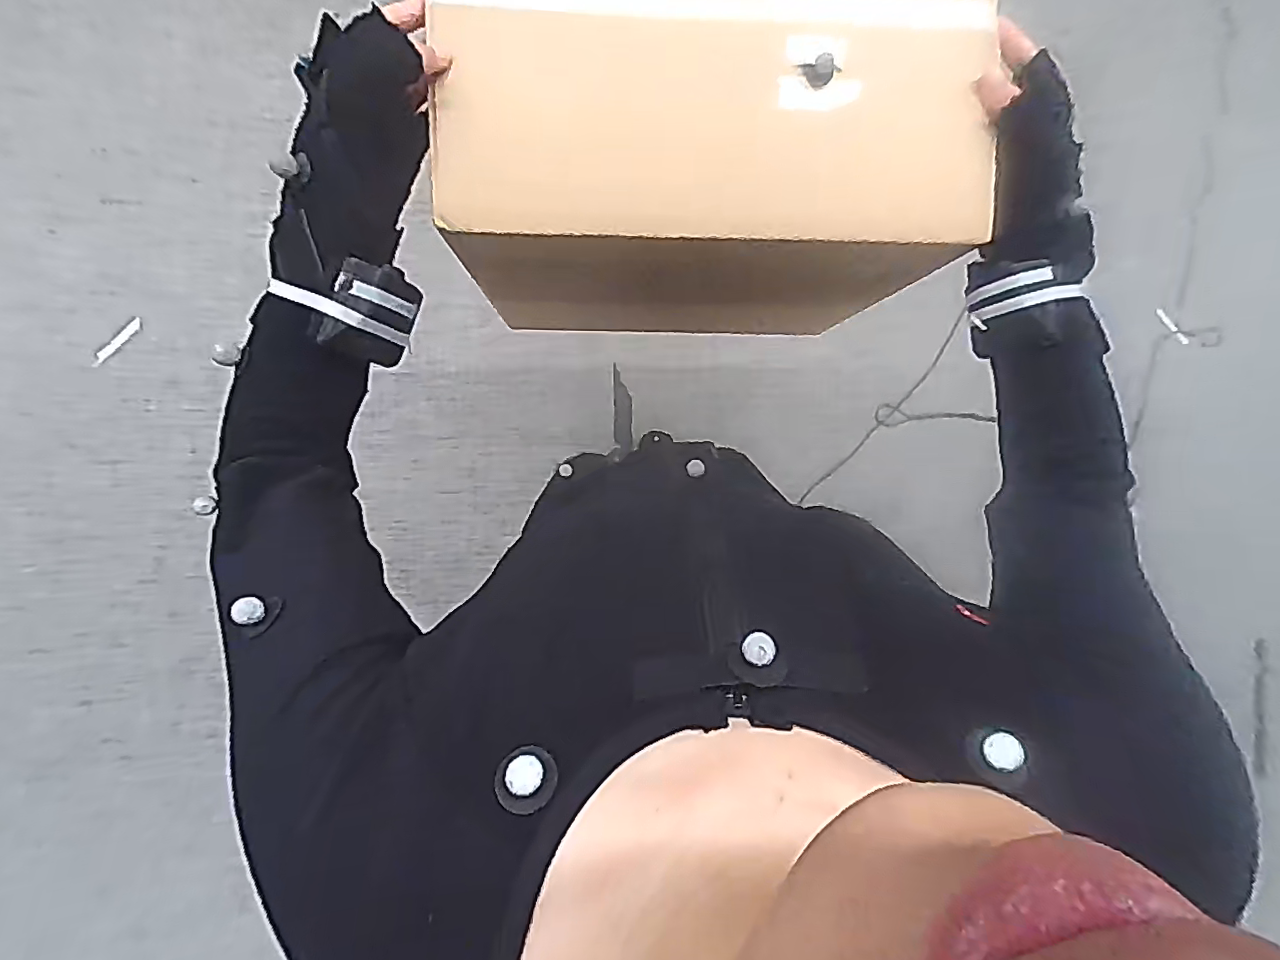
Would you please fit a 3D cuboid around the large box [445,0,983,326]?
[{"bbox_3d":[0.046,-0.347,0.540,0.408,0.320,0.320,-1,94,-5],"label":"large box"}]
